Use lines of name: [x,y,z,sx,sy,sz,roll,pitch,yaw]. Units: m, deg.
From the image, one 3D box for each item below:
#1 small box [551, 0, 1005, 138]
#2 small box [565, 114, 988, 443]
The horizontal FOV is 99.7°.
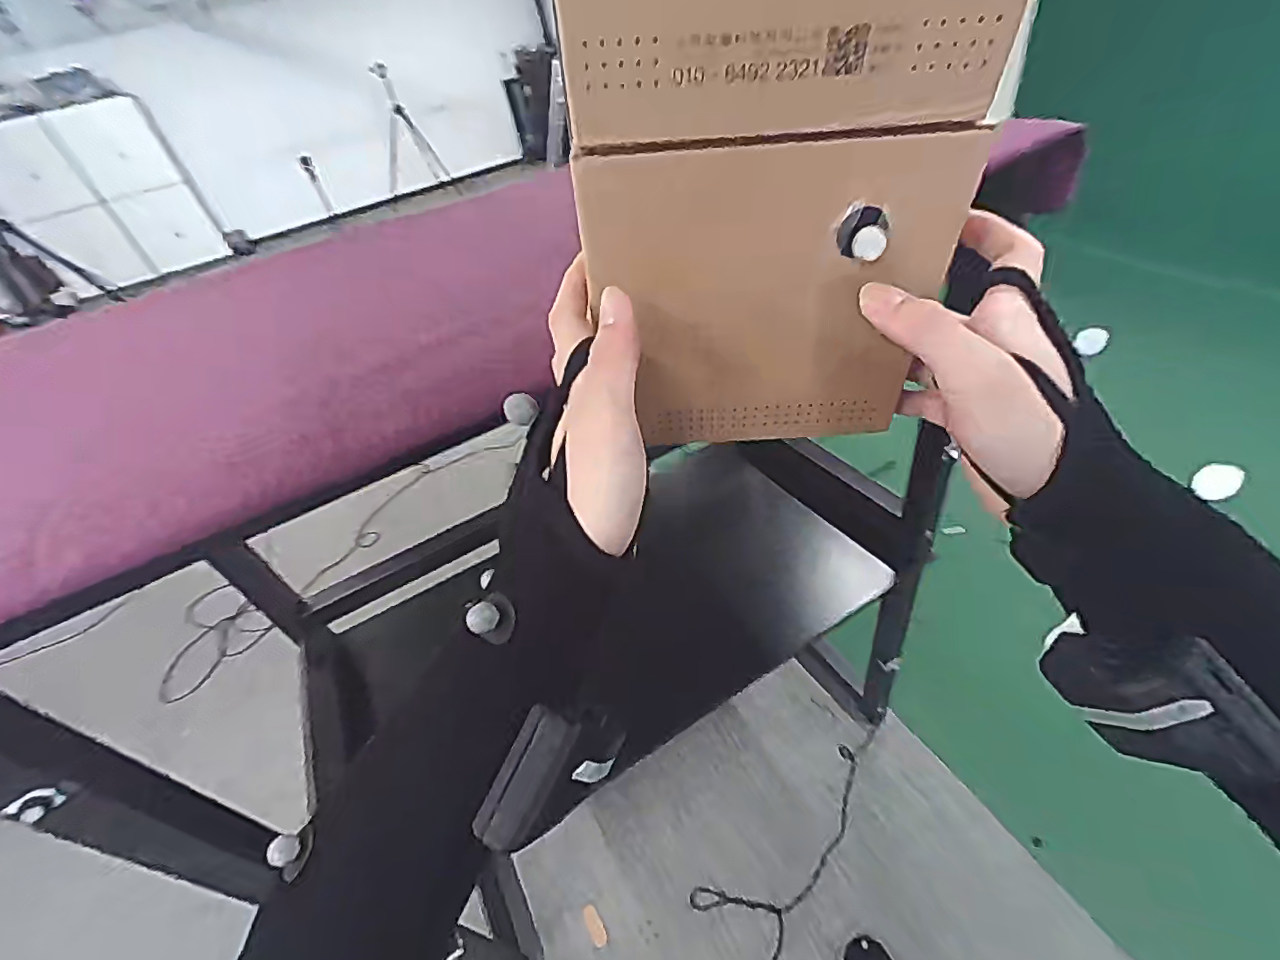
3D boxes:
small box: [0.049,-0.251,0.215,0.168,0.176,0.179,-1,47,3]
small box: [0.060,-0.137,0.332,0.179,0.176,0.168,-2,47,3]
